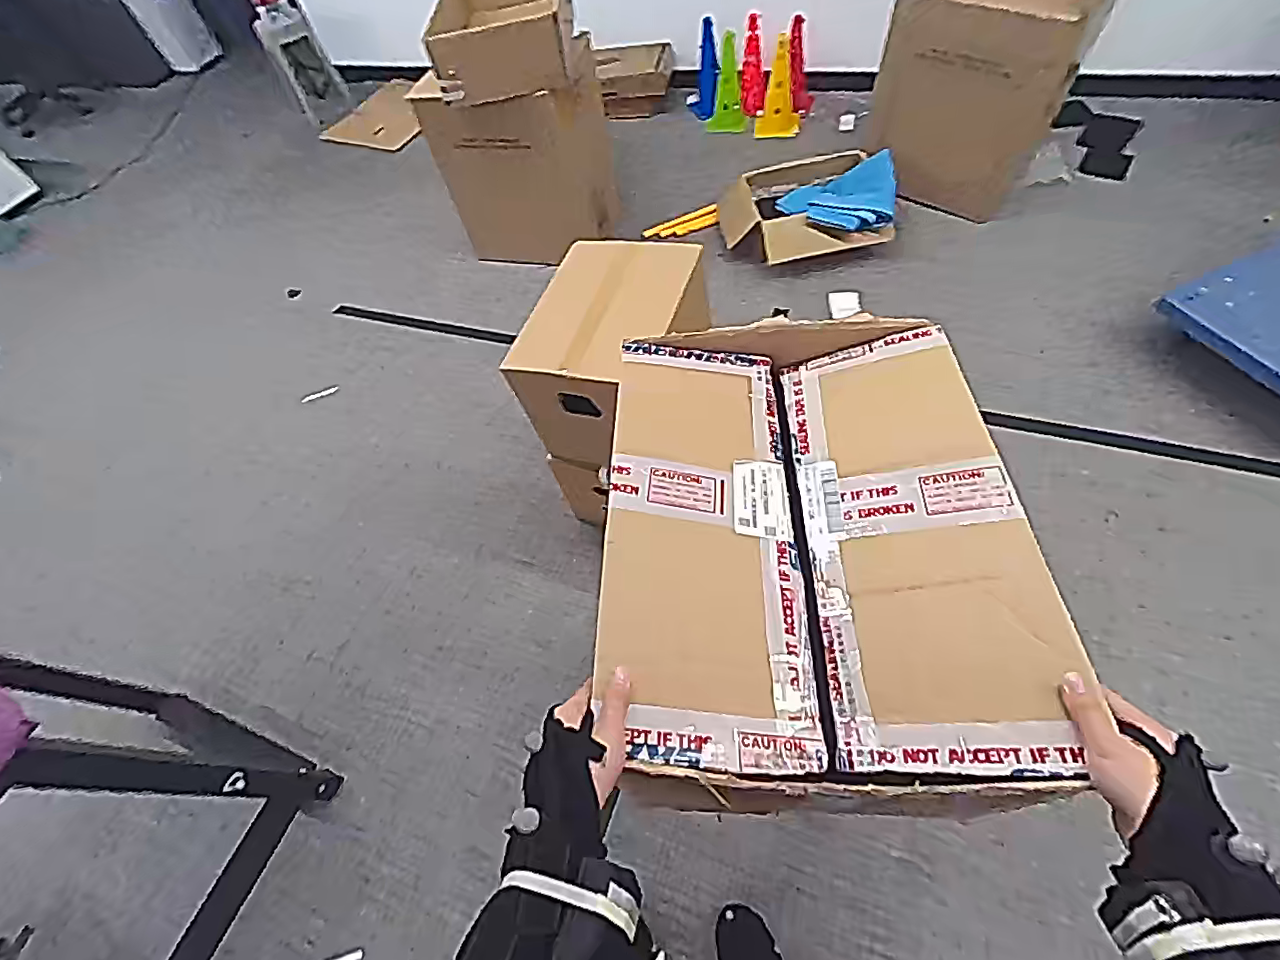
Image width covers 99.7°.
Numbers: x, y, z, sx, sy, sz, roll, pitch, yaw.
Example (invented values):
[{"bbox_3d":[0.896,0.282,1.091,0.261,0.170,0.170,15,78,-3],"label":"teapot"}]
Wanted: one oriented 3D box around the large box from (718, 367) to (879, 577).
[{"bbox_3d":[0.396,-0.020,1.388,0.320,0.320,0.408,13,62,17],"label":"large box"}]
